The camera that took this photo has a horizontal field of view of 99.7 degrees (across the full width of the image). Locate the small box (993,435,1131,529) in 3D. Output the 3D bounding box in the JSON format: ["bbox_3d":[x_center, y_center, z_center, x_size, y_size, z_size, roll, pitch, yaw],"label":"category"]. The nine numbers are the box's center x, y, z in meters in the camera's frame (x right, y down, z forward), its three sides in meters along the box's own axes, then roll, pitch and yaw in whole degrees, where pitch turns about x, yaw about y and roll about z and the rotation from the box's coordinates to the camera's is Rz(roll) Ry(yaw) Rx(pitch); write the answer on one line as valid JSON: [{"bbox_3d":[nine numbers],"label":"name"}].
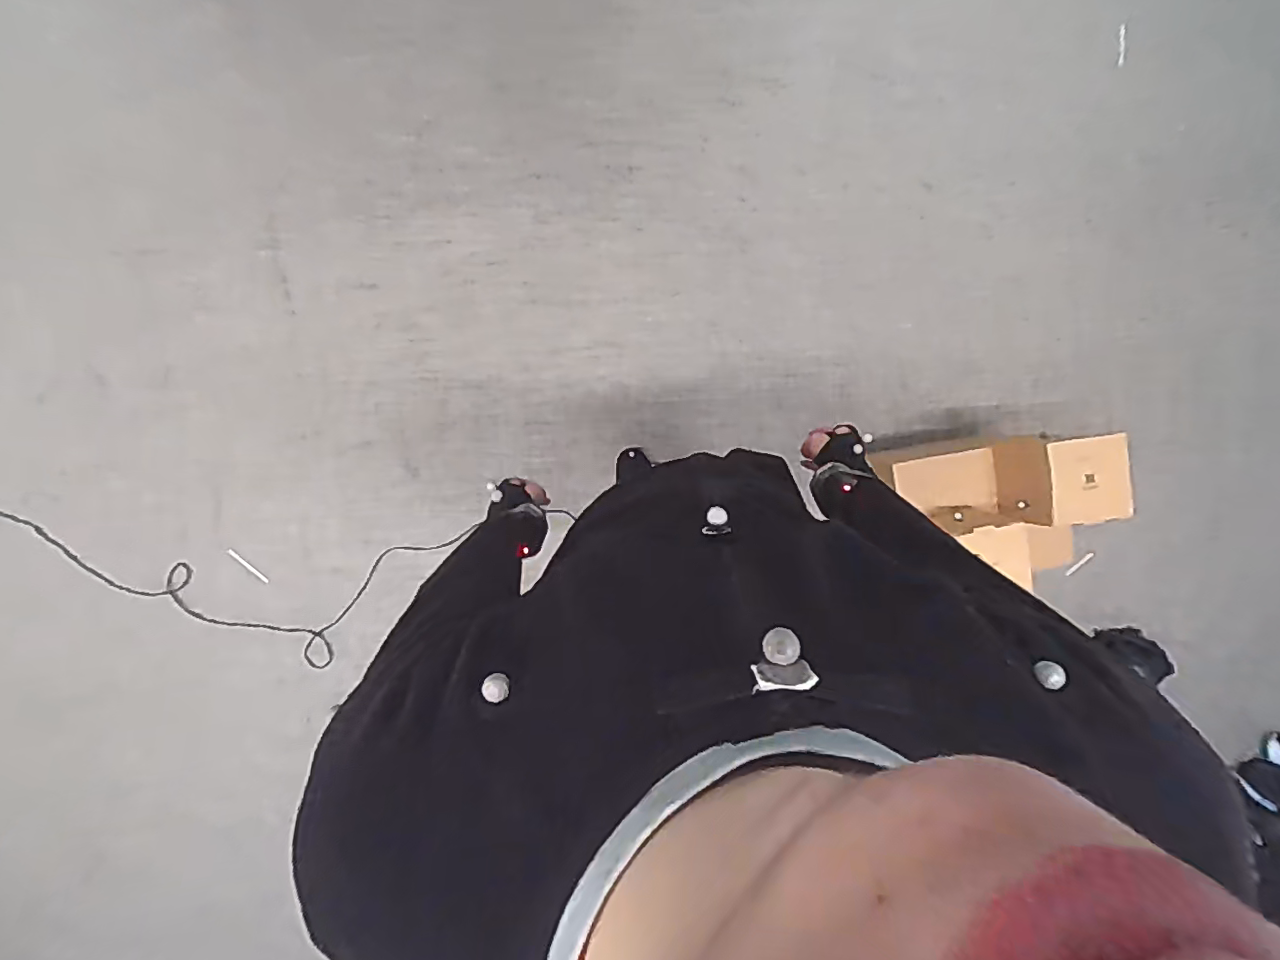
[{"bbox_3d":[0.903,0.000,1.171,0.168,0.176,0.179,-8,92,-1],"label":"small box"}]

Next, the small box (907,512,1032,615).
[{"bbox_3d":[0.710,0.172,1.183,0.168,0.176,0.179,-11,97,1],"label":"small box"}]
